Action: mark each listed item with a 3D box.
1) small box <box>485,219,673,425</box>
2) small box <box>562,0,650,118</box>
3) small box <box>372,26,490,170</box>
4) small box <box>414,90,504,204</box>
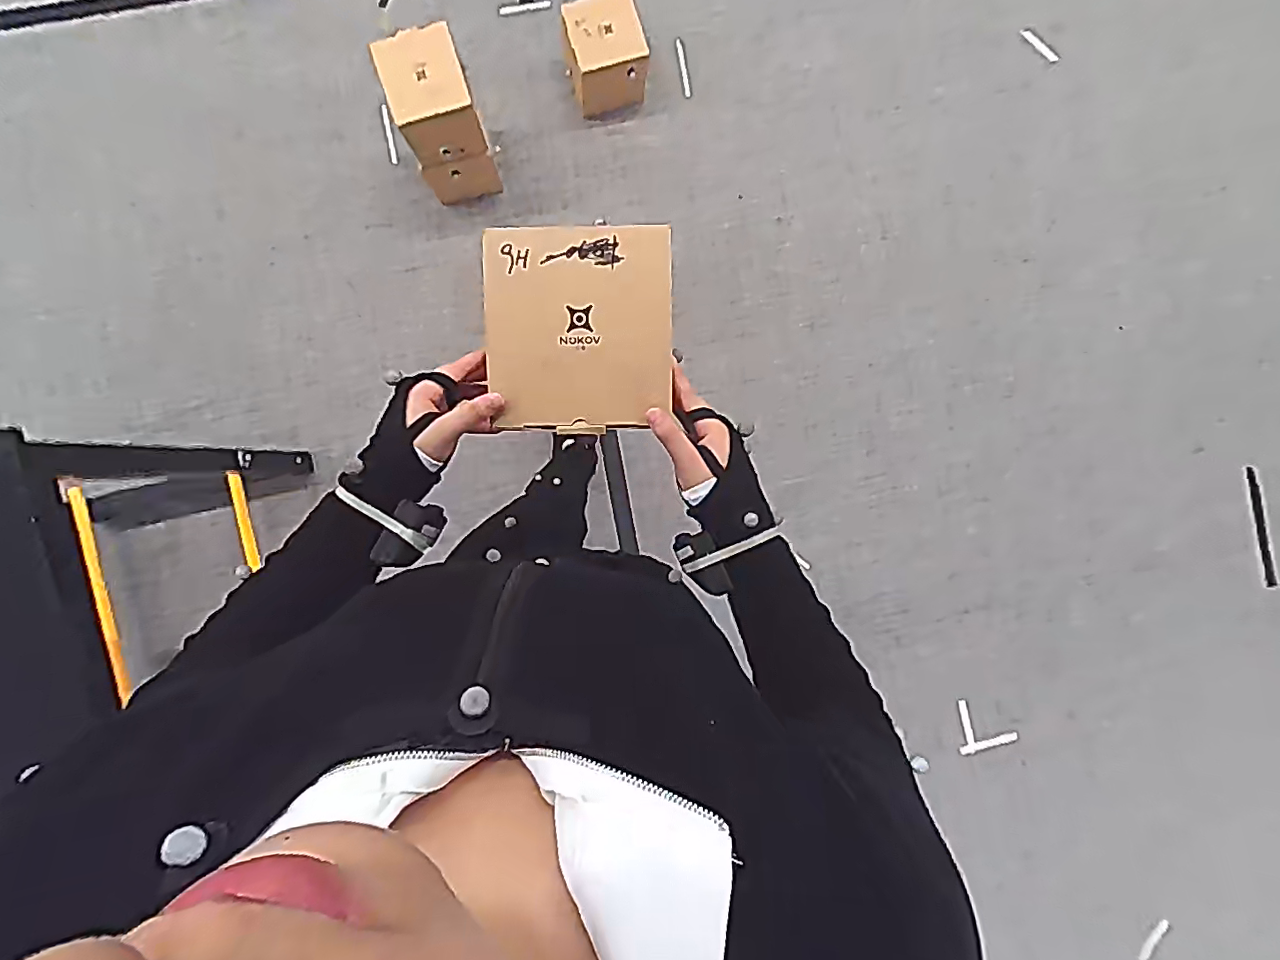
[{"bbox_3d":[-0.051,-0.148,0.555,0.168,0.176,0.179,0,96,1],"label":"small box"},{"bbox_3d":[-0.088,-1.064,1.368,0.179,0.176,0.168,-18,92,-3],"label":"small box"},{"bbox_3d":[-0.449,-0.827,1.186,0.168,0.176,0.179,-18,94,-1],"label":"small box"},{"bbox_3d":[-0.456,-0.820,1.349,0.179,0.176,0.168,-15,92,-4],"label":"small box"}]
